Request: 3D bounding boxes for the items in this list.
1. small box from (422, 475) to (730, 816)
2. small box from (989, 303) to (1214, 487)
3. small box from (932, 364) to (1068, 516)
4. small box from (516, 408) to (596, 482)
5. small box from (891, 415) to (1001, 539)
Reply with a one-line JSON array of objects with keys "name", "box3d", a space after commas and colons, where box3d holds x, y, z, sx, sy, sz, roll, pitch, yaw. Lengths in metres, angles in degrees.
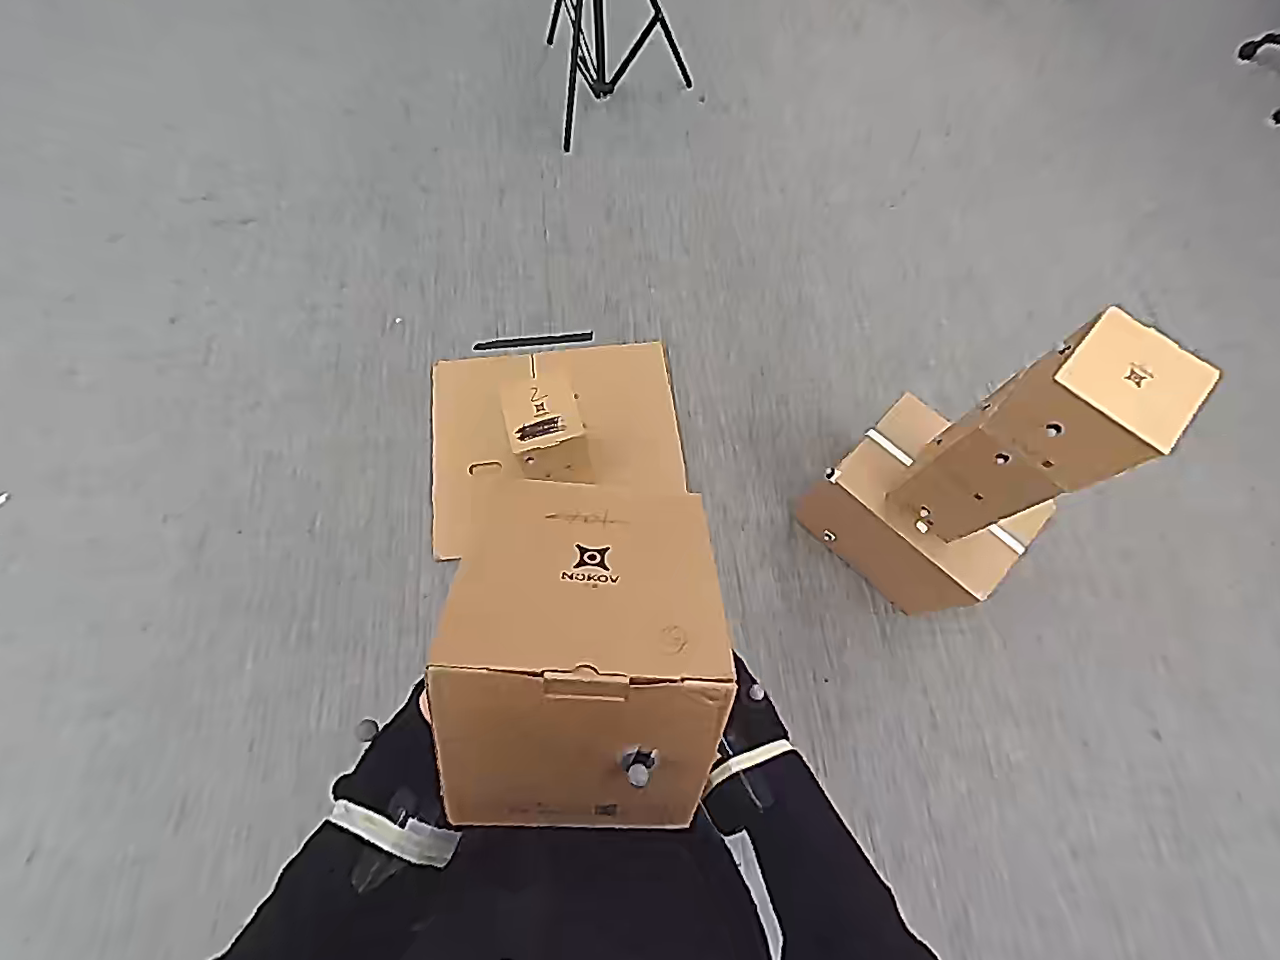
[{"name": "small box", "box3d": [-0.043, 0.117, 0.394, 0.168, 0.176, 0.179, 5, 33, -6]}, {"name": "small box", "box3d": [0.672, -0.118, 0.813, 0.168, 0.176, 0.179, 41, 73, 13]}, {"name": "small box", "box3d": [0.667, -0.065, 0.968, 0.168, 0.176, 0.179, 42, 73, 13]}, {"name": "small box", "box3d": [-0.219, -0.063, 1.439, 0.168, 0.176, 0.179, -15, 71, -4]}, {"name": "small box", "box3d": [0.661, -0.005, 1.120, 0.168, 0.176, 0.179, 41, 74, 13]}]
